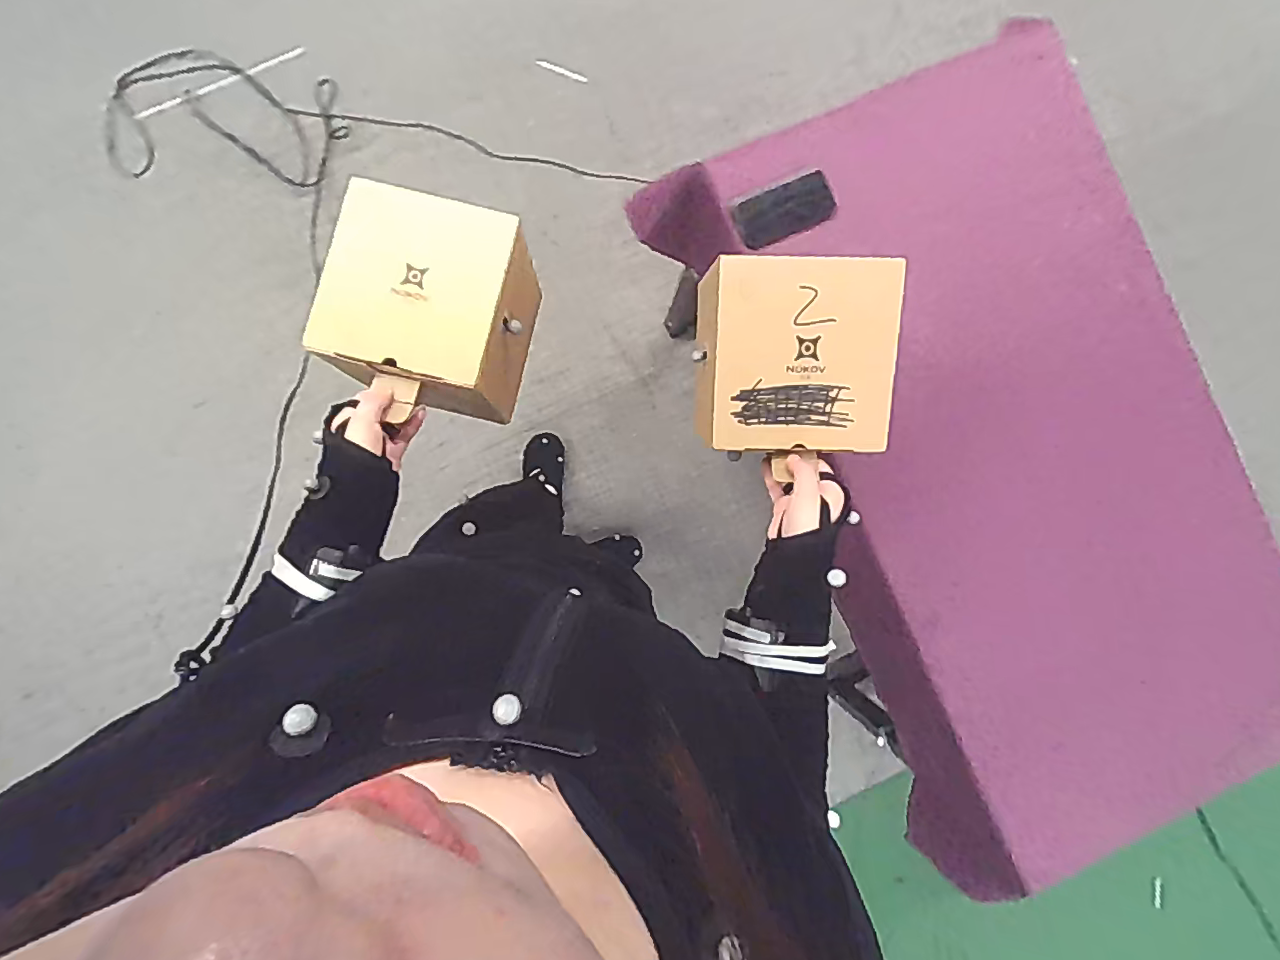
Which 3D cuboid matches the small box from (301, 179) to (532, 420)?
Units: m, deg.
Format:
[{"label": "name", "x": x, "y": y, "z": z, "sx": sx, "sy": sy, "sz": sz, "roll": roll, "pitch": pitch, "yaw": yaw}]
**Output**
[{"label": "small box", "x": -0.220, "y": -0.178, "z": 0.586, "sx": 0.168, "sy": 0.176, "sz": 0.179, "roll": 13, "pitch": 85, "yaw": -3}]
